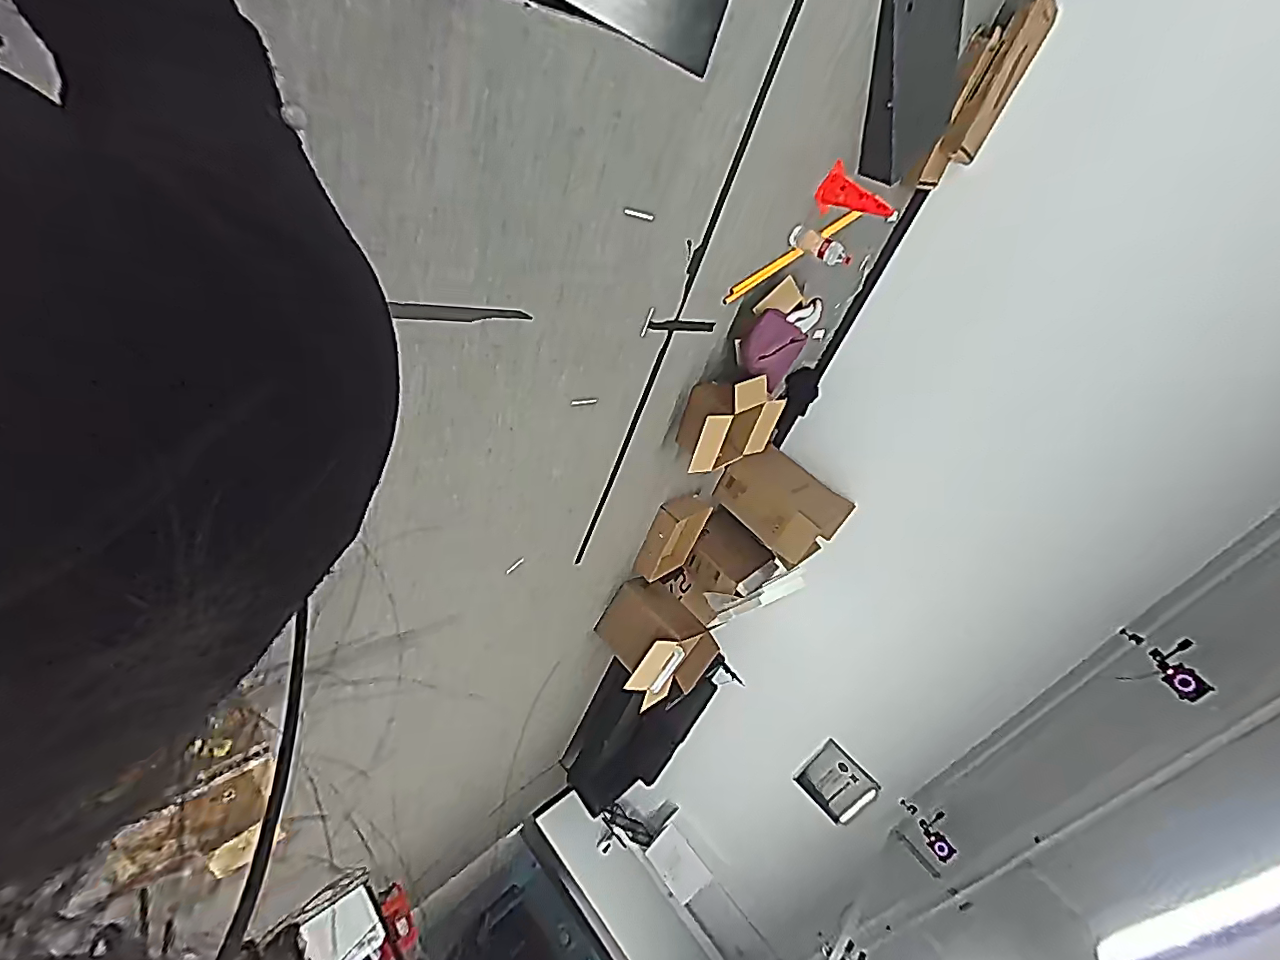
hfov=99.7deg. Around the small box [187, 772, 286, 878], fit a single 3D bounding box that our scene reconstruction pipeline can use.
[{"bbox_3d":[-1.159,0.988,1.558,0.168,0.176,0.179,-28,142,-38],"label":"small box"}]
